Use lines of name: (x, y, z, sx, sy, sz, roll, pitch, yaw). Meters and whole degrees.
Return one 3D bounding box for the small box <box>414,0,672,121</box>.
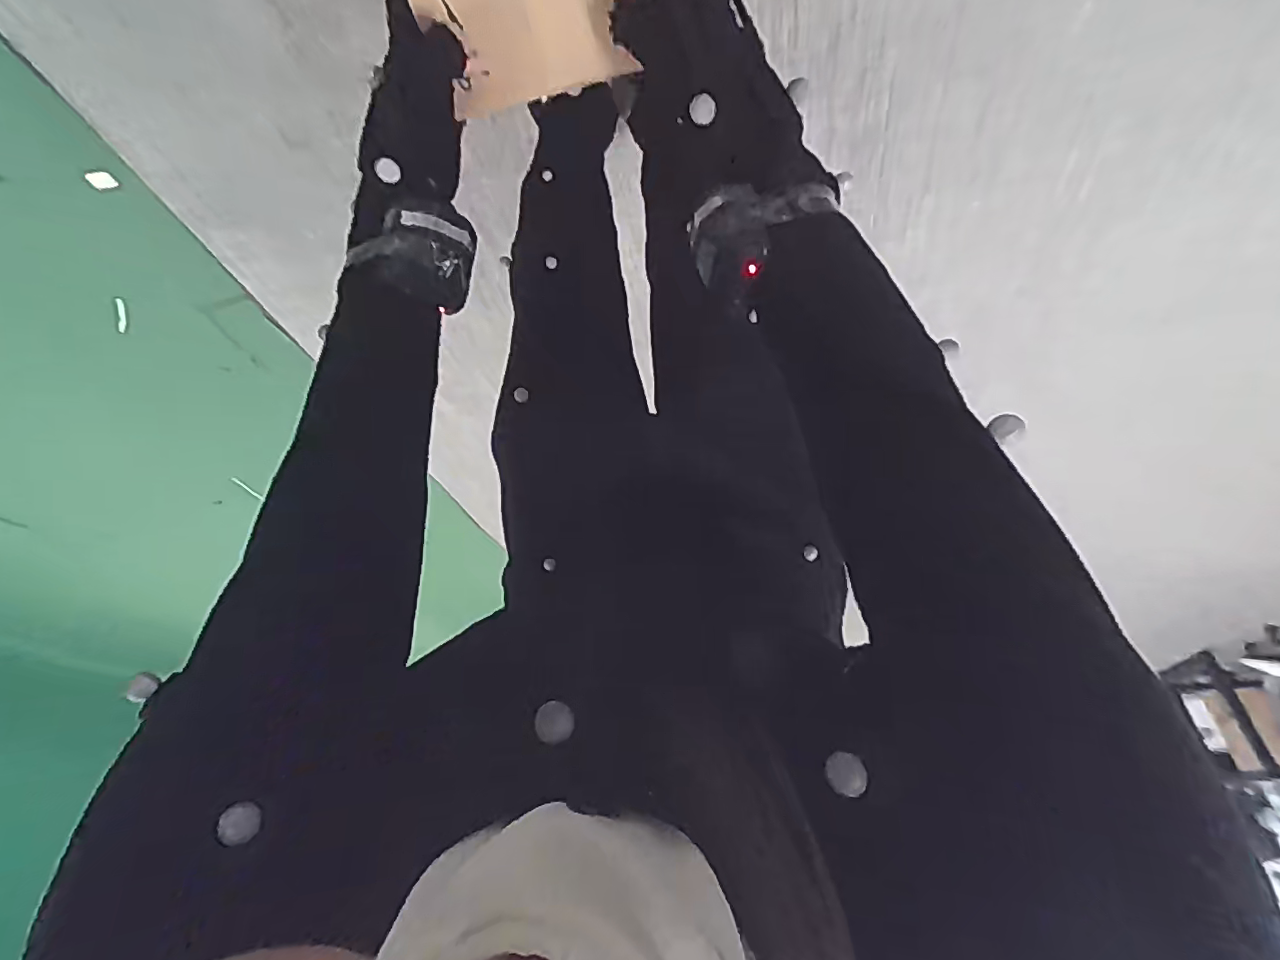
small box: (-0.080, -0.412, 0.424, 0.179, 0.176, 0.168, -10, 132, 7)
